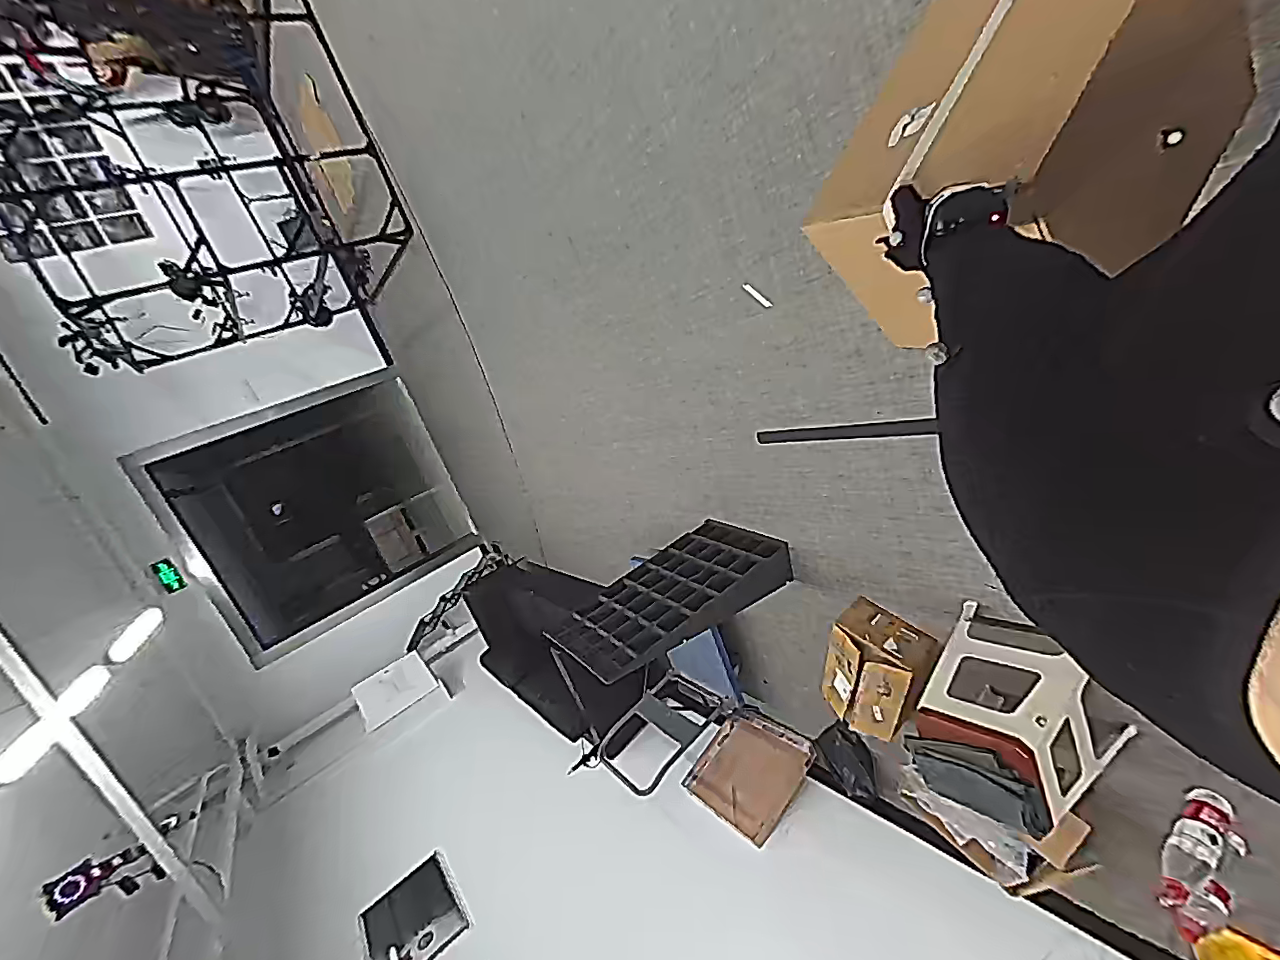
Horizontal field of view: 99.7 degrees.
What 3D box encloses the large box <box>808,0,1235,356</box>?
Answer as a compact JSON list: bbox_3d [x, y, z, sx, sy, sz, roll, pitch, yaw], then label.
[{"bbox_3d":[0.522,-0.433,0.756,0.320,0.408,0.320,31,178,-32],"label":"large box"}]
